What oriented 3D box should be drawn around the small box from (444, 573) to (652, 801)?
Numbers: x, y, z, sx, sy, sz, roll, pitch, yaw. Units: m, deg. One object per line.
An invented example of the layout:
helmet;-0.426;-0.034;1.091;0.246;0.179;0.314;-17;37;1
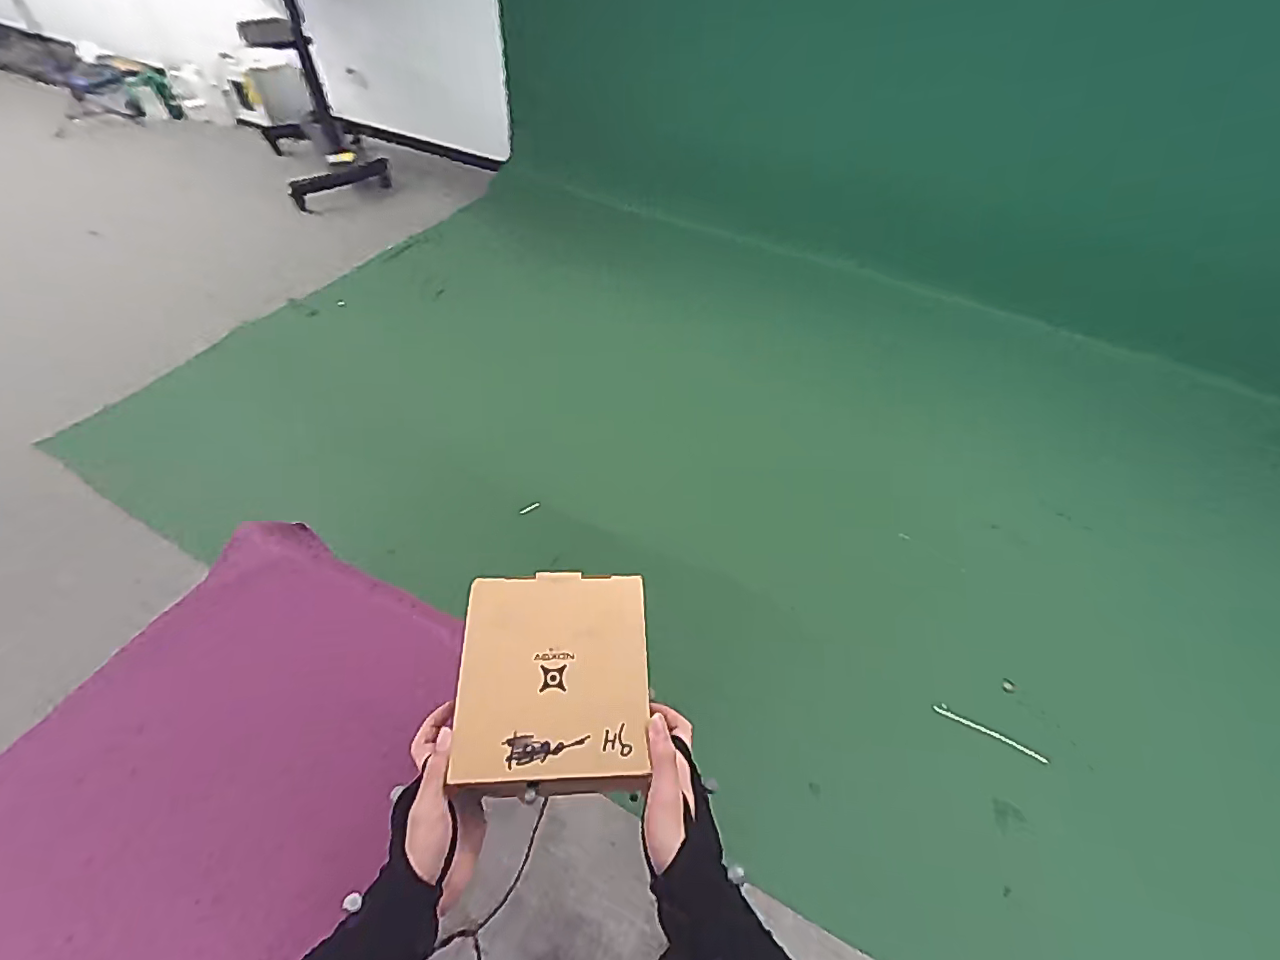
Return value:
small box;-0.078;0.207;0.535;0.168;0.176;0.179;0;55;-3
